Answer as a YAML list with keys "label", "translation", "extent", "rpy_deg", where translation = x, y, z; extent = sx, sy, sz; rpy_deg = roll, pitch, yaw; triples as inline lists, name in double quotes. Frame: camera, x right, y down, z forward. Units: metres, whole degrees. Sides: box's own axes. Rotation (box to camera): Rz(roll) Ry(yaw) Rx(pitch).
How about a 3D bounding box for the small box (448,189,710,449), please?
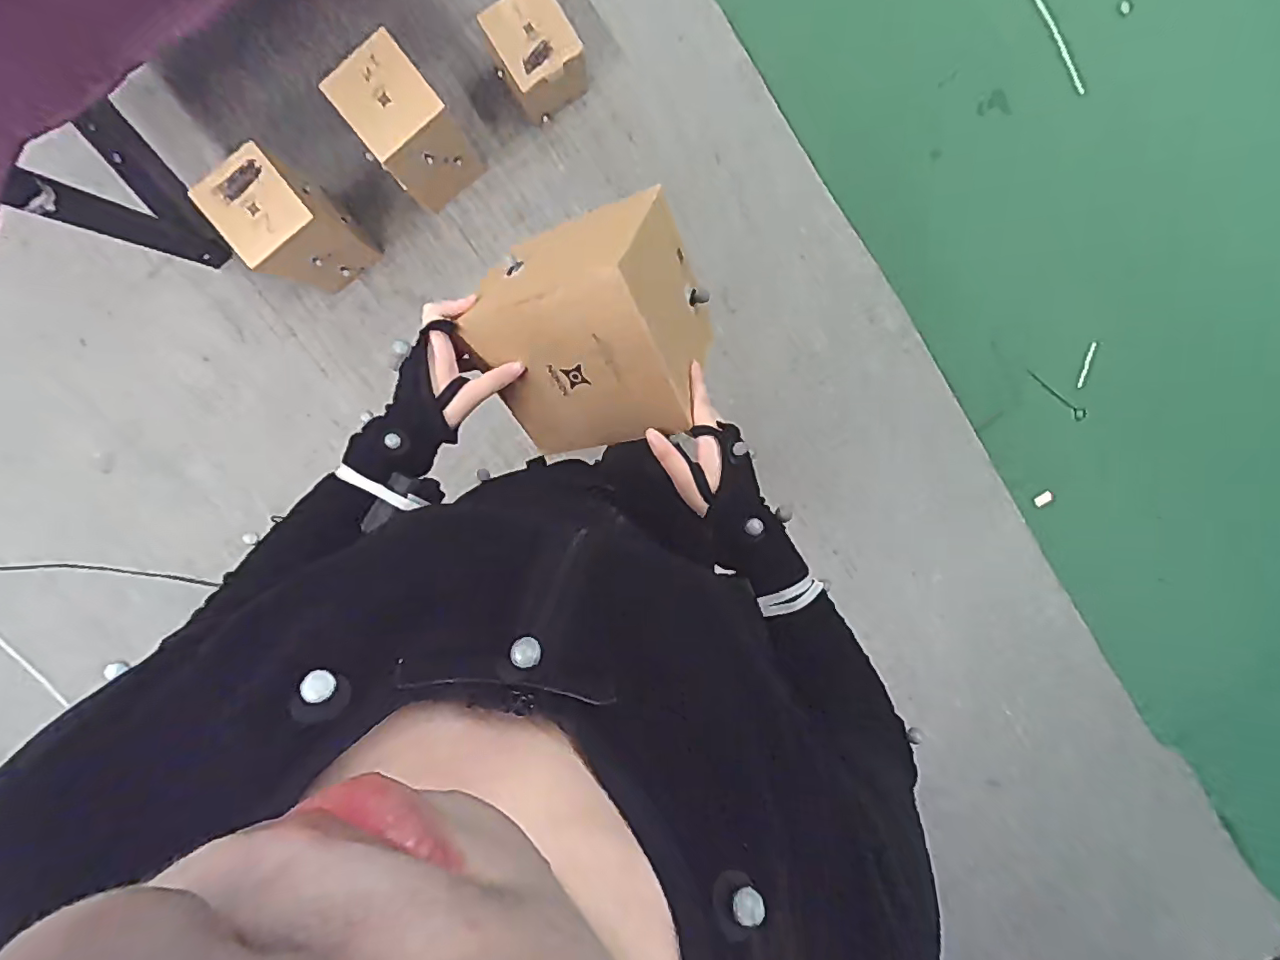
- label: "small box"
  translation: [-0.046, -0.156, 0.543]
  extent: [0.179, 0.176, 0.168]
  rpy_deg: [-8, 133, 27]

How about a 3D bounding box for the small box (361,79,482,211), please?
- label: "small box"
  translation: [-0.501, -0.770, 1.269]
  extent: [0.179, 0.176, 0.168]
  rpy_deg: [-37, 98, 4]
